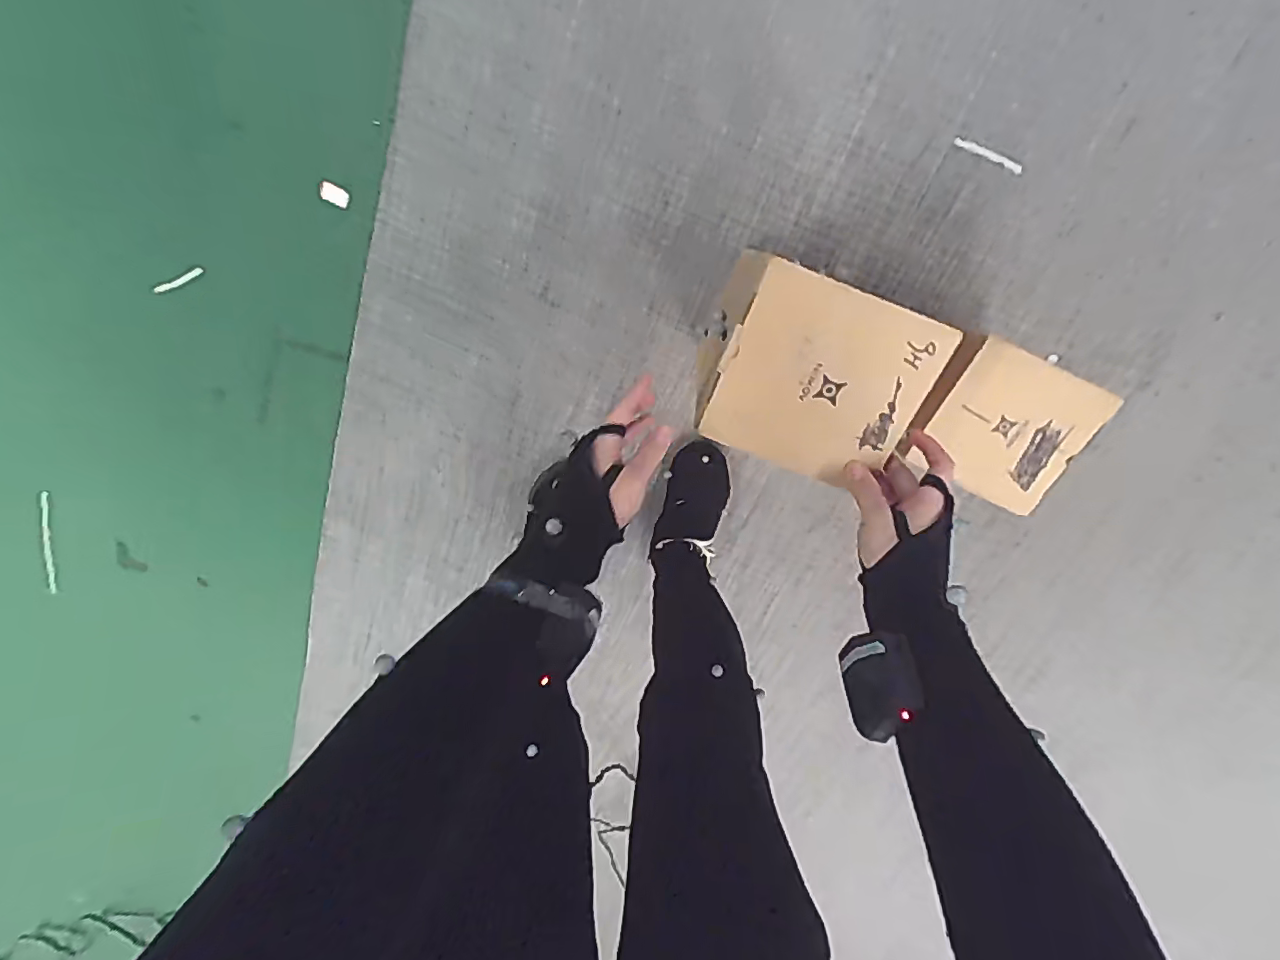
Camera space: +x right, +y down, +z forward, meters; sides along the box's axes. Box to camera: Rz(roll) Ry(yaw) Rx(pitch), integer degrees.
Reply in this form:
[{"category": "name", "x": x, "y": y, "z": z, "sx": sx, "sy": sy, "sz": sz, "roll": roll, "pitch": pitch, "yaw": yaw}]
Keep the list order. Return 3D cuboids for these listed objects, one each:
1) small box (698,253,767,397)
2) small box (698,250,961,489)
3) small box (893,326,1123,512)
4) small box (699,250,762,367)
[{"category": "small box", "x": 0.187, "y": -0.179, "z": 0.705, "sx": 0.168, "sy": 0.176, "sz": 0.179, "roll": 21, "pitch": 114, "yaw": -1}, {"category": "small box", "x": 0.171, "y": -0.120, "z": 0.553, "sx": 0.179, "sy": 0.176, "sz": 0.168, "roll": 21, "pitch": 115, "yaw": -2}, {"category": "small box", "x": 0.443, "y": -0.091, "z": 0.705, "sx": 0.179, "sy": 0.176, "sz": 0.168, "roll": 25, "pitch": 113, "yaw": -2}, {"category": "small box", "x": 0.206, "y": -0.244, "z": 0.852, "sx": 0.168, "sy": 0.176, "sz": 0.179, "roll": 24, "pitch": 114, "yaw": -3}]
